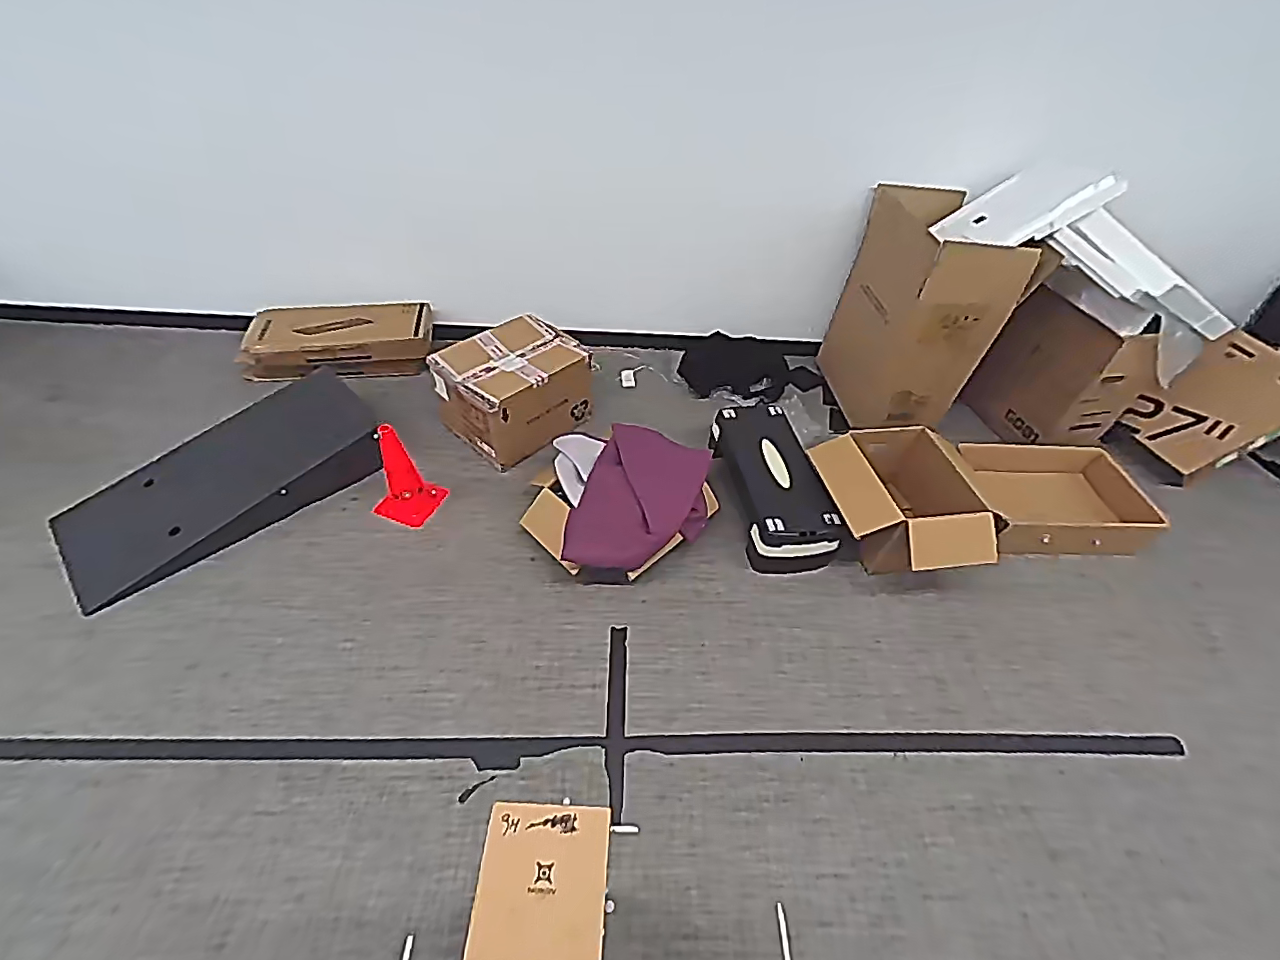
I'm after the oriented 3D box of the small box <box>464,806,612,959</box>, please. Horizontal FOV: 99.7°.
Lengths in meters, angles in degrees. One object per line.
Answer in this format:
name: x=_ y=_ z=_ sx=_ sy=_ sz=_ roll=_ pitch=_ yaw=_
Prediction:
small box: x=-0.126 y=0.568 z=0.740 sx=0.168 sy=0.176 sz=0.179 roll=3 pitch=47 yaw=-1
